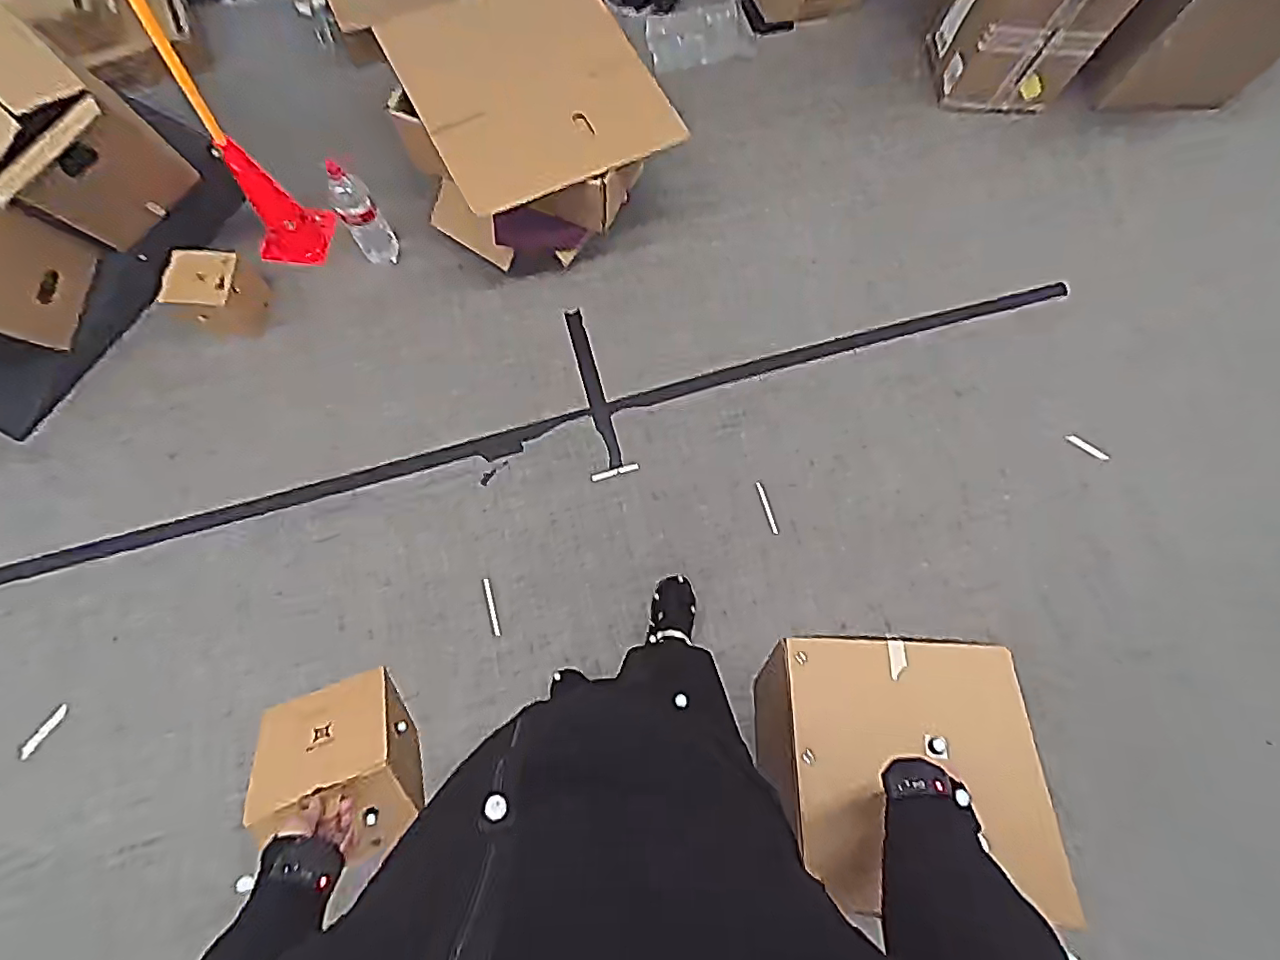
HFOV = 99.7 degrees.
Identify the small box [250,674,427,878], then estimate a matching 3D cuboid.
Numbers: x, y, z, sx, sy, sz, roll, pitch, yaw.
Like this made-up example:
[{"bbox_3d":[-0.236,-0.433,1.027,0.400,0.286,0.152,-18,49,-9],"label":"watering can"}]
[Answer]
[{"bbox_3d":[-0.417,0.424,0.774,0.168,0.176,0.179,-18,32,-18],"label":"small box"}]
